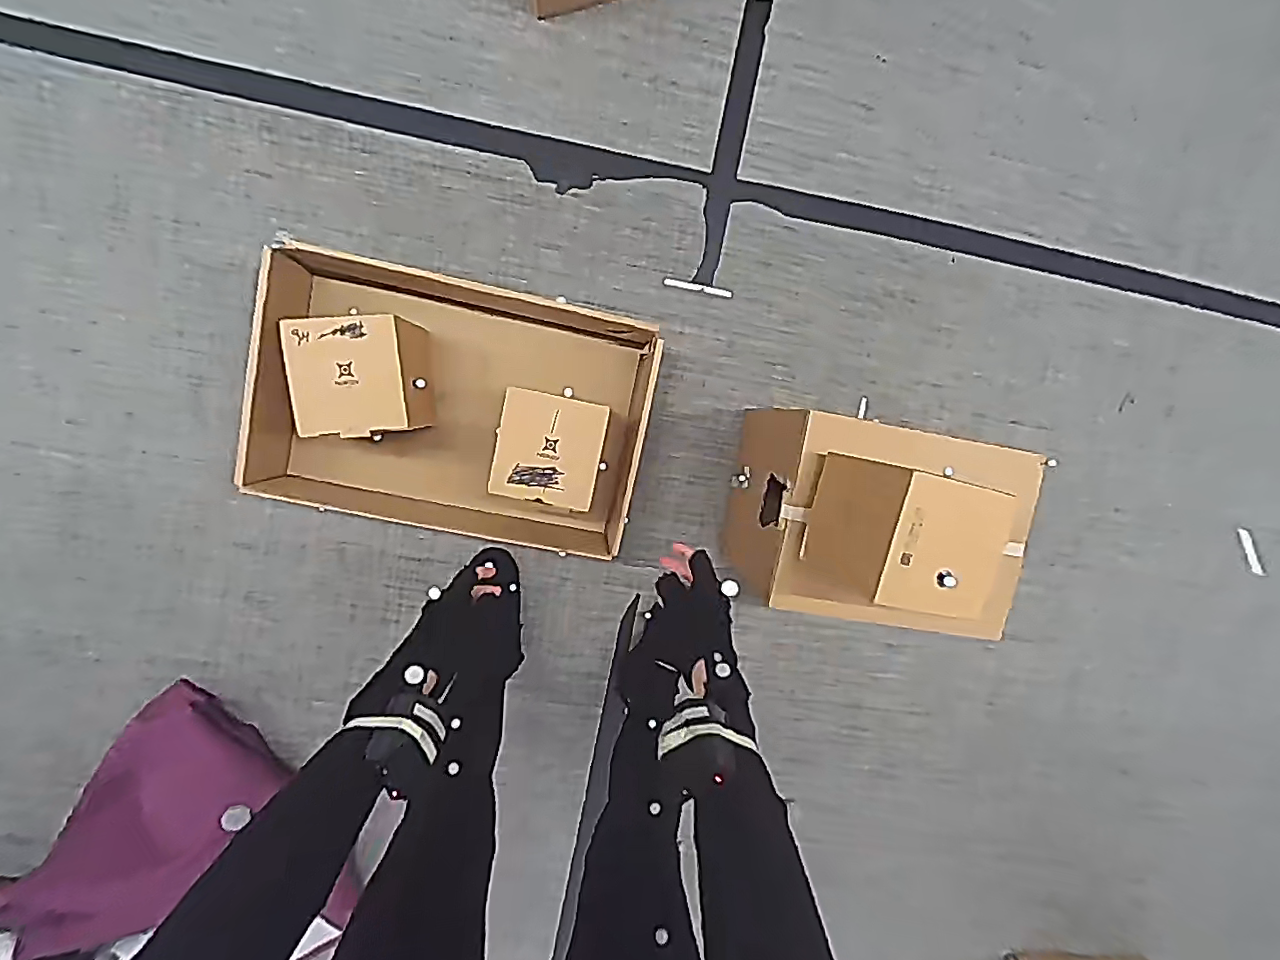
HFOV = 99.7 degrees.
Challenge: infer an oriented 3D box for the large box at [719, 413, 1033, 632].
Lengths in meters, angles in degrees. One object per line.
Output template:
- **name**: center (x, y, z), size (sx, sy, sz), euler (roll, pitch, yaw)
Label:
- **large box**: center (0.395, 0.058, 0.999), size (0.408, 0.320, 0.320), euler (9, 97, -8)
